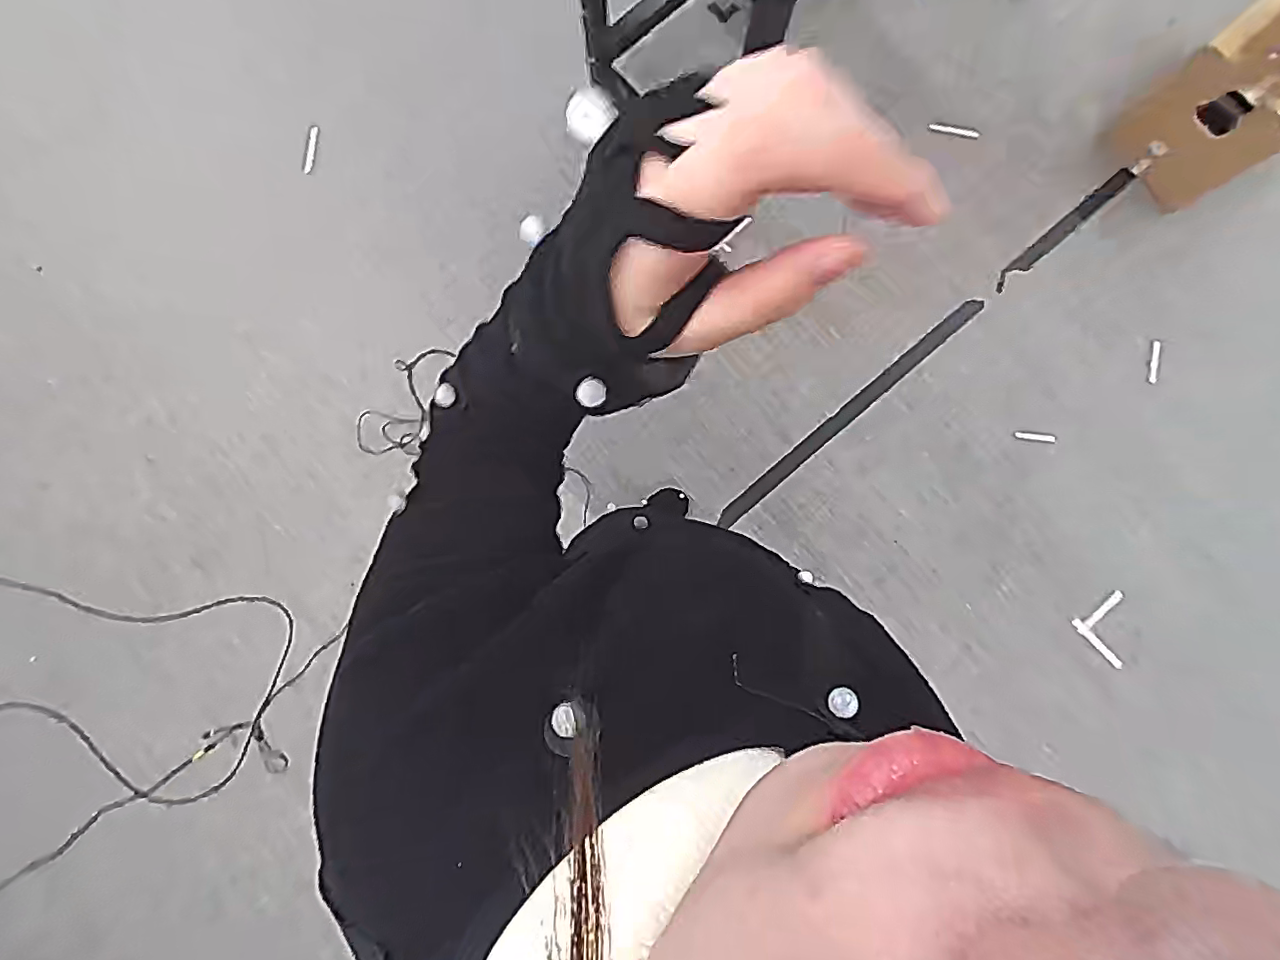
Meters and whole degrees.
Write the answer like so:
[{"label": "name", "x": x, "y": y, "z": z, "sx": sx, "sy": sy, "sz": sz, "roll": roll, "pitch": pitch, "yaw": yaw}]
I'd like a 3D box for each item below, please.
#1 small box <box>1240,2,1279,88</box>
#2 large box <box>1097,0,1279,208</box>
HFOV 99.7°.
[{"label": "small box", "x": 1.462, "y": -0.993, "z": 1.142, "sx": 0.179, "sy": 0.176, "sz": 0.168, "roll": -41, "pitch": 86, "yaw": 0}, {"label": "large box", "x": 1.533, "y": -1.008, "z": 1.385, "sx": 0.408, "sy": 0.320, "sz": 0.320, "roll": -40, "pitch": 88, "yaw": -2}]
